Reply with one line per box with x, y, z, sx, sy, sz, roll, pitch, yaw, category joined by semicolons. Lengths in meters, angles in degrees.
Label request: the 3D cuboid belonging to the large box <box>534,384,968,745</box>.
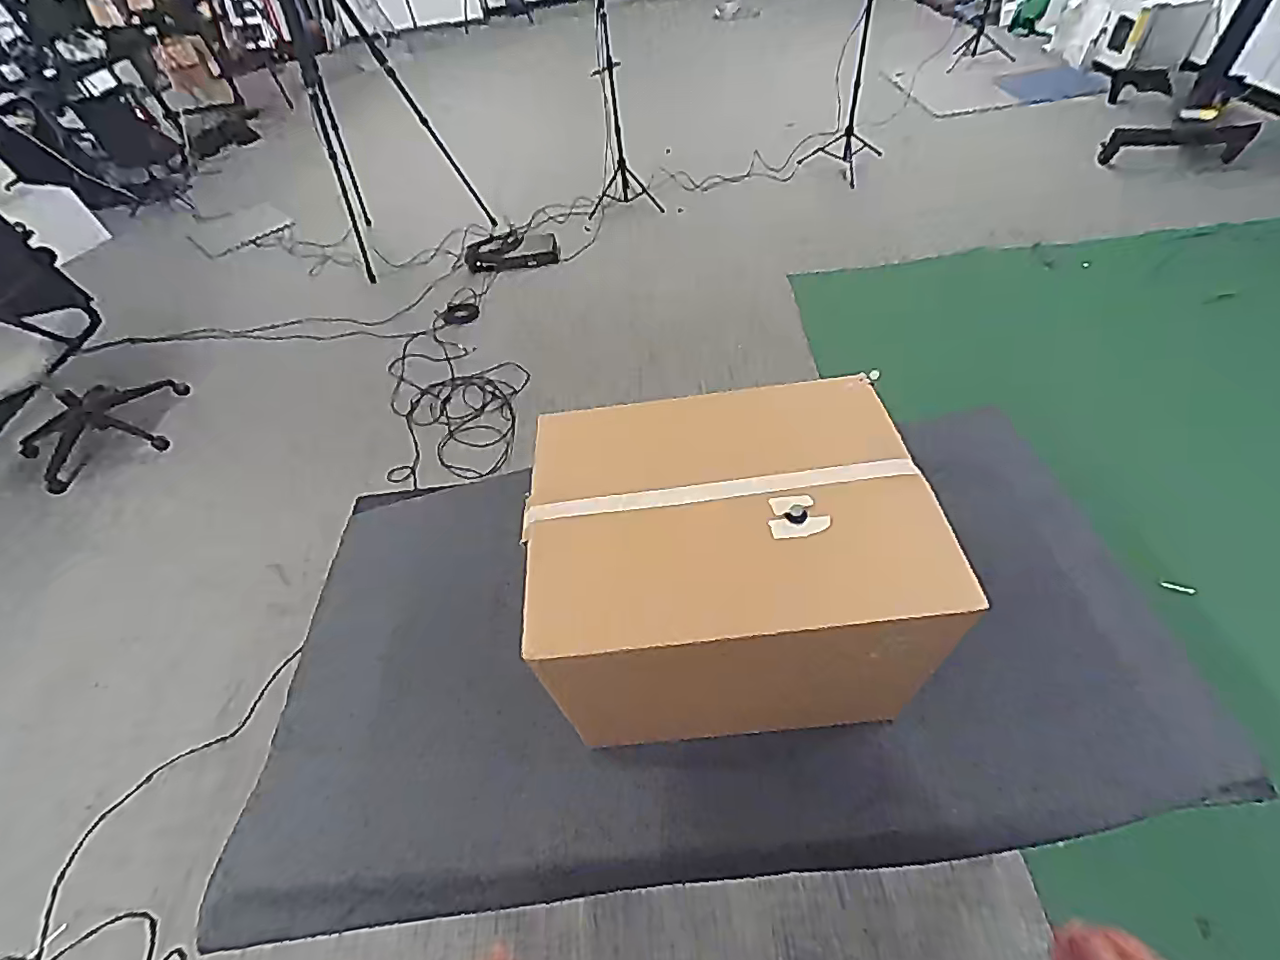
0.099;0.116;0.692;0.408;0.320;0.320;-7;51;2;large box
